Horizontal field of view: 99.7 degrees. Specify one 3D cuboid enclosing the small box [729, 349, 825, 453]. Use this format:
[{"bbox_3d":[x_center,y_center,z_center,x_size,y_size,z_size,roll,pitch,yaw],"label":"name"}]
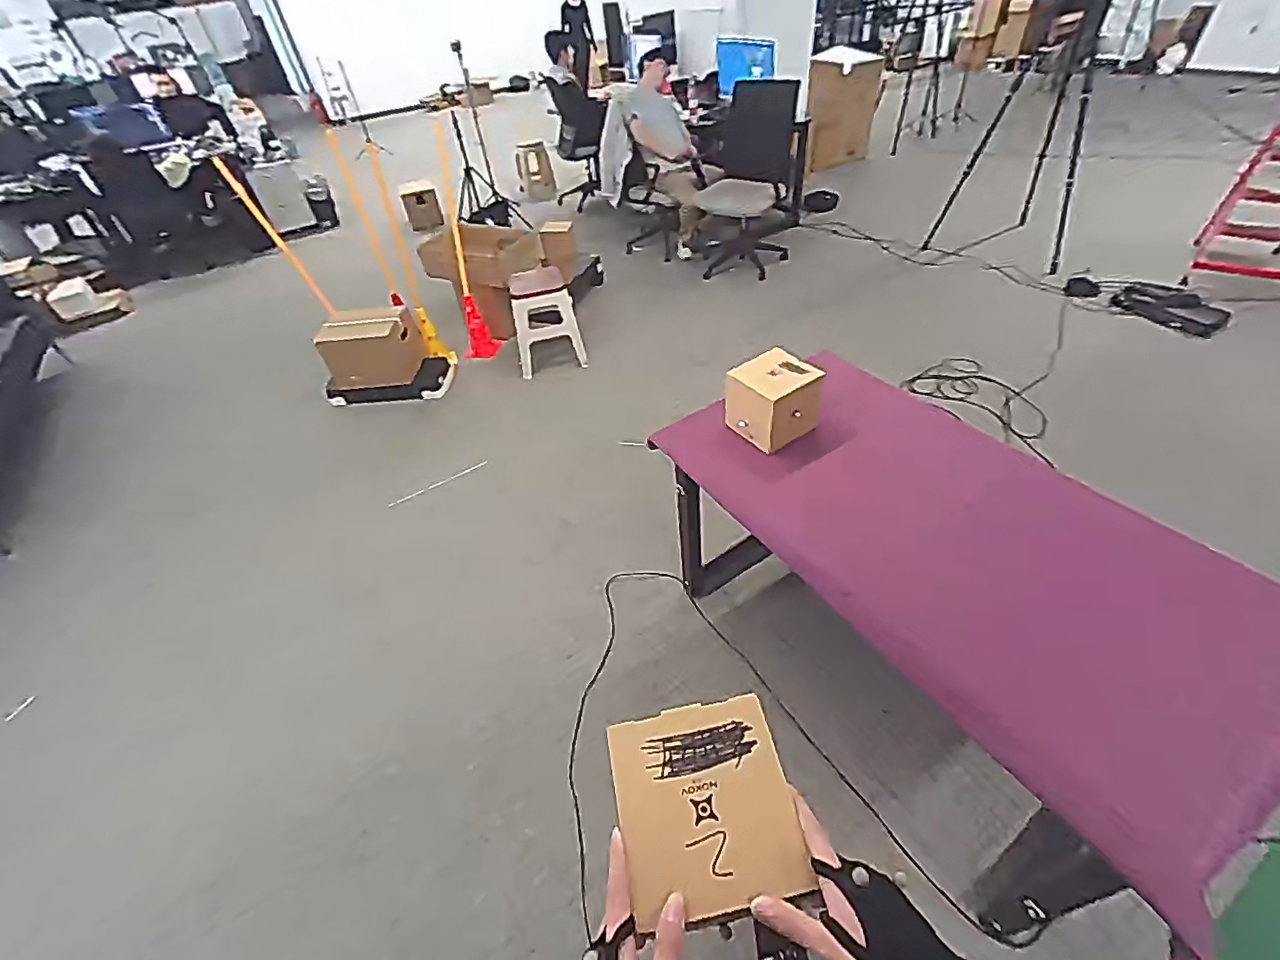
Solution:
[{"bbox_3d":[0.338,-0.200,1.376,0.179,0.176,0.168,-28,47,-21],"label":"small box"}]
